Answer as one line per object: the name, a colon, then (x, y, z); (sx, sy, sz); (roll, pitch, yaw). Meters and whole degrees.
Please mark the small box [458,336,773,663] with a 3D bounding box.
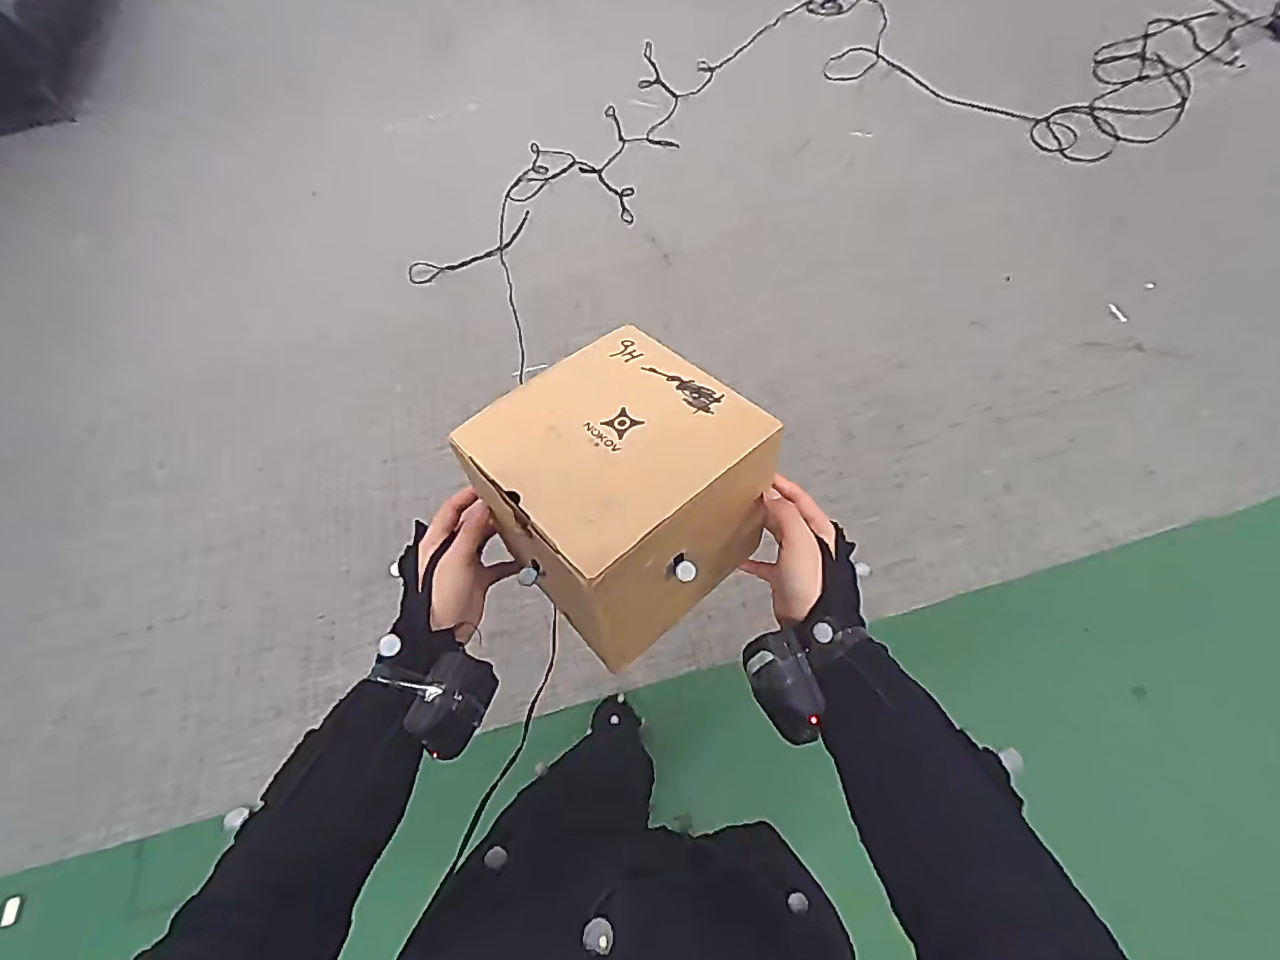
small box: (-0.013, 0.019, 0.451); (0.179, 0.176, 0.168); (-37, 58, -21)
